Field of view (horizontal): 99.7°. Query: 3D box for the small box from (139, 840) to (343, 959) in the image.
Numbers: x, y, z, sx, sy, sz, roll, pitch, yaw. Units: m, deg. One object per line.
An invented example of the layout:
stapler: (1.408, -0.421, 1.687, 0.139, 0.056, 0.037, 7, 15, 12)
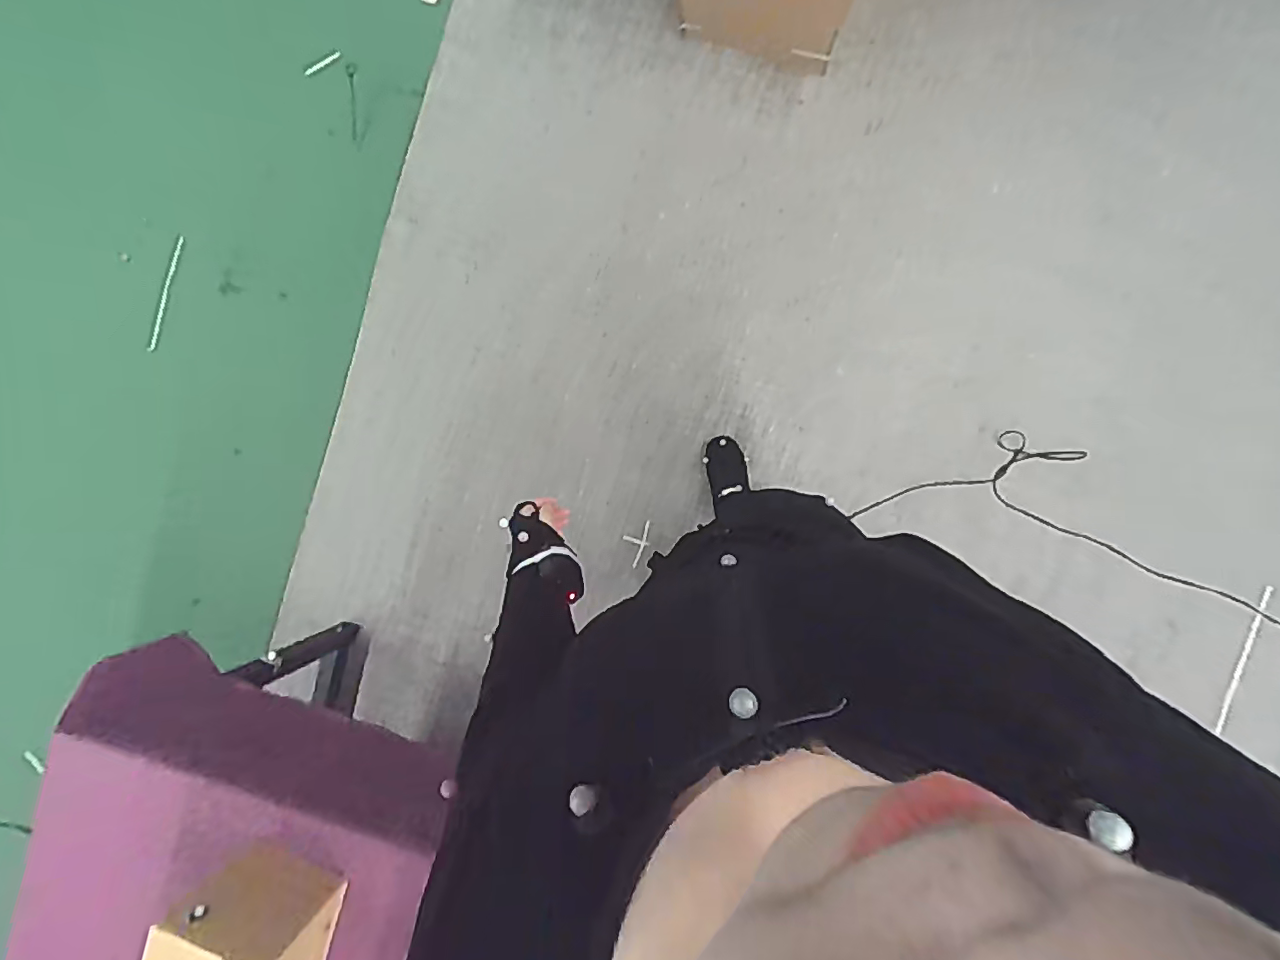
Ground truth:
small box: (-0.572, 0.671, 0.782, 0.179, 0.176, 0.168, 18, 93, 7)
